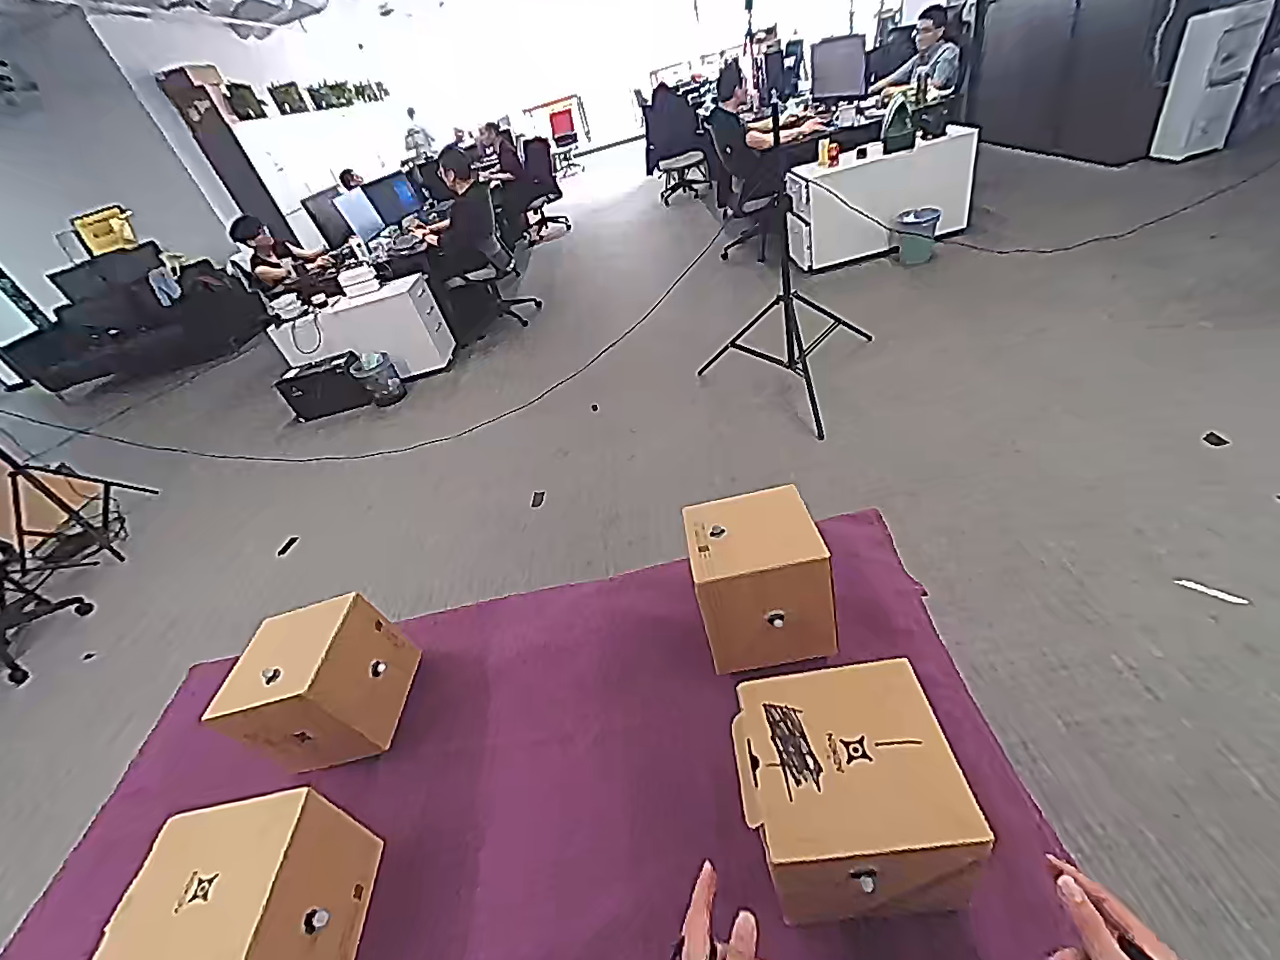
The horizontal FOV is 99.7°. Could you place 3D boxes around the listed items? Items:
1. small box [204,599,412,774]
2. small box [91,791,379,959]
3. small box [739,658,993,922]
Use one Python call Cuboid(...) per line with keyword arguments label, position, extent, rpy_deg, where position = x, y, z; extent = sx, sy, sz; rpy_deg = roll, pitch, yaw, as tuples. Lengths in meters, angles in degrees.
Cuboid(label="small box", position=(-0.463, 0.298, 0.794), extent=(0.179, 0.168, 0.176), rpy_deg=(-17, 35, 12))
Cuboid(label="small box", position=(-0.418, 0.468, 0.582), extent=(0.179, 0.176, 0.168), rpy_deg=(-14, 37, 4))
Cuboid(label="small box", position=(0.207, 0.306, 0.533), extent=(0.179, 0.176, 0.168), rpy_deg=(-11, 36, 7))
